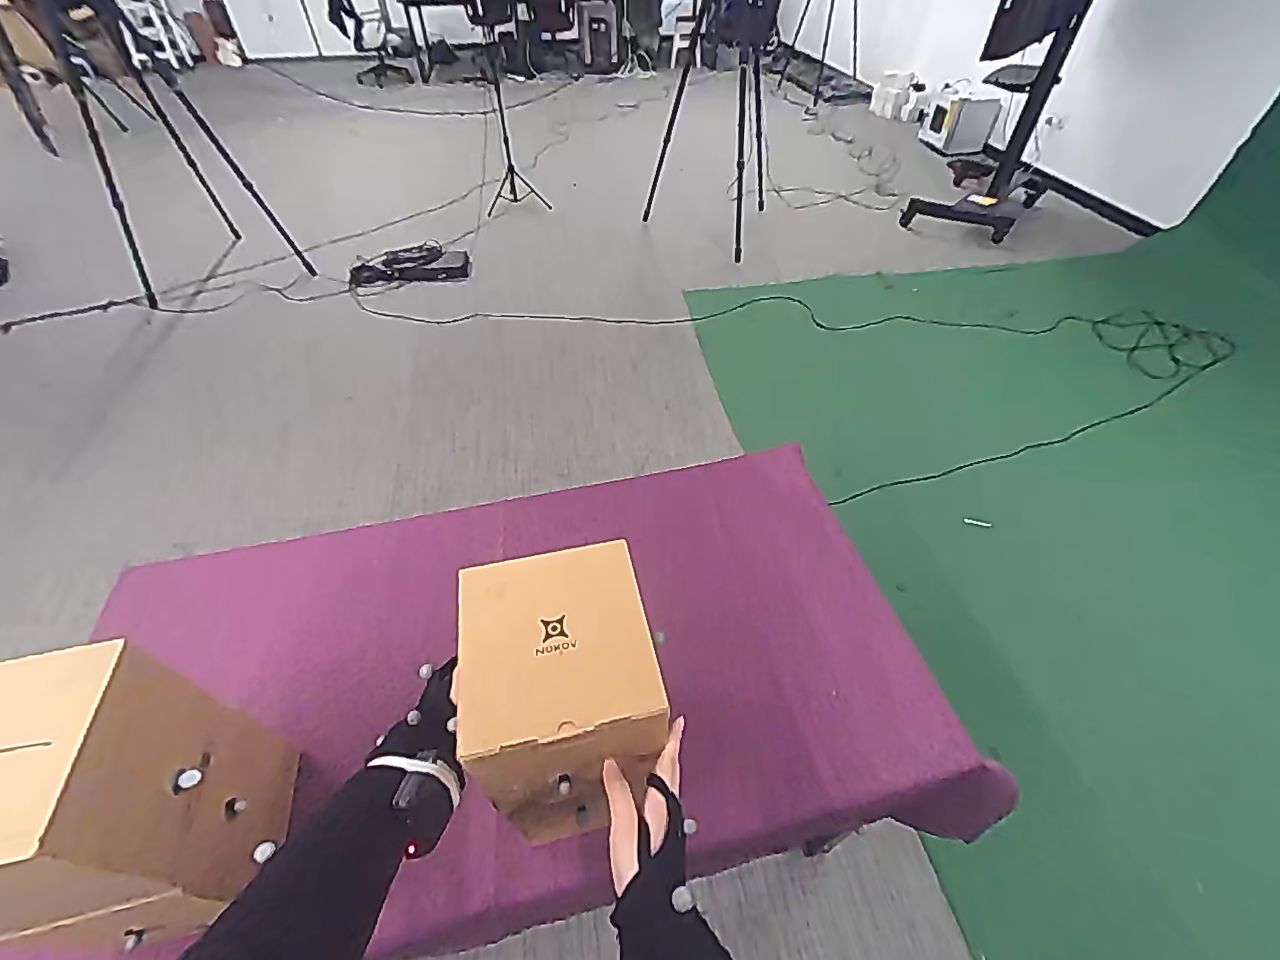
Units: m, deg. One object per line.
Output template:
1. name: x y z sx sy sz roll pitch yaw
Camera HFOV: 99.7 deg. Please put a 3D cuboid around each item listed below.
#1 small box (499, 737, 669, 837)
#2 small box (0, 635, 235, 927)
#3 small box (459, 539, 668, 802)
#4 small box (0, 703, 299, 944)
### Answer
1. small box: -0.068 0.303 0.649 0.179 0.176 0.168 -12 48 -8
2. small box: -0.508 0.263 0.468 0.179 0.176 0.168 -10 48 -9
3. small box: -0.075 0.187 0.534 0.168 0.176 0.179 -10 48 -8
4. small box: -0.505 0.375 0.589 0.168 0.176 0.179 -9 47 -9
